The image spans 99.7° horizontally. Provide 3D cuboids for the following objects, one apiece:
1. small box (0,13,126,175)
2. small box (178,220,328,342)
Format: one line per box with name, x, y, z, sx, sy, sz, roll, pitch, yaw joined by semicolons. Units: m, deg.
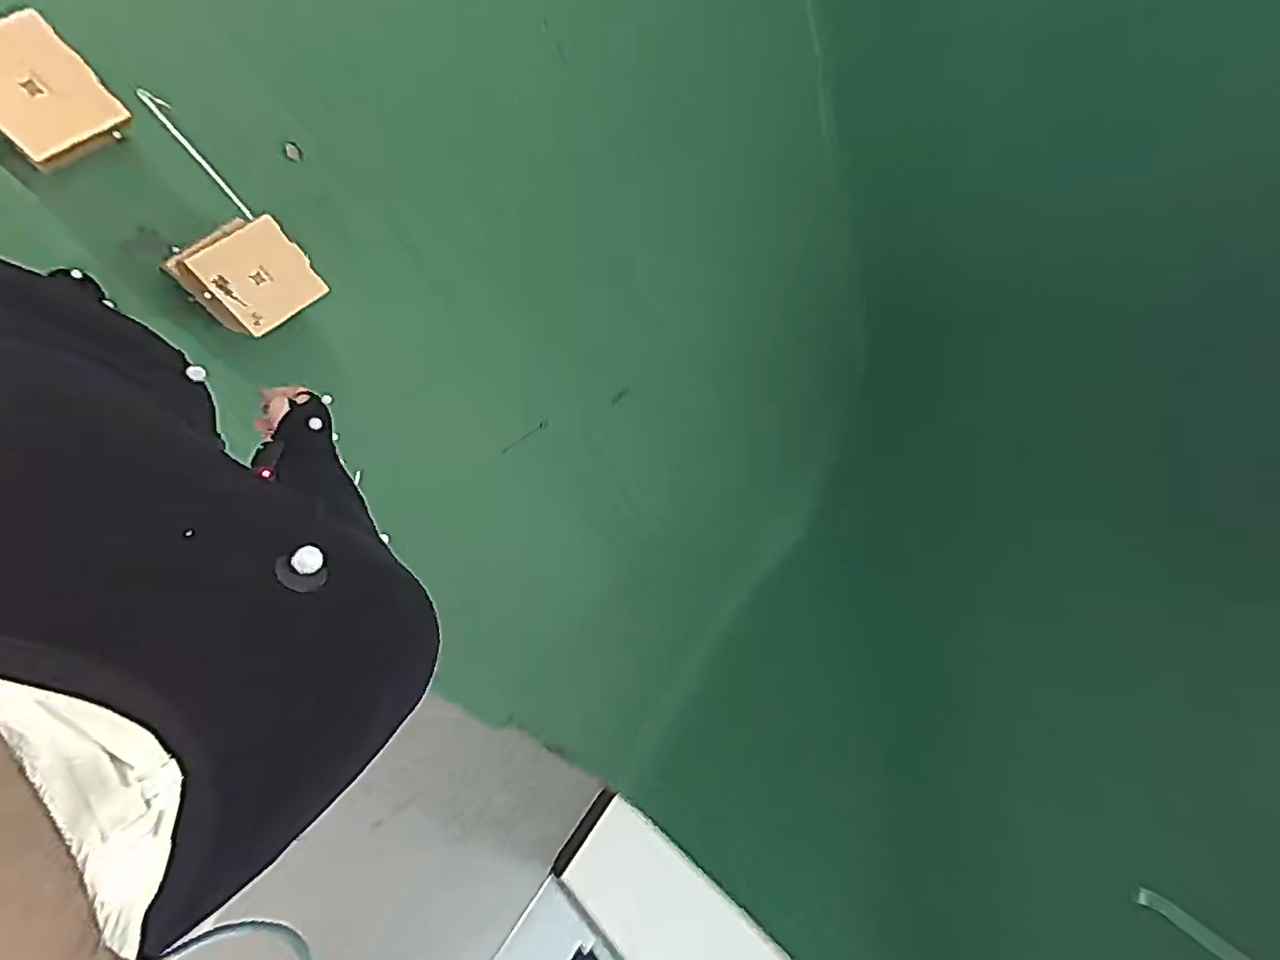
small box;-1.068;-0.669;0.957;0.179;0.176;0.168;-50;133;-21
small box;-0.786;-0.405;1.096;0.179;0.176;0.168;-47;133;-22
